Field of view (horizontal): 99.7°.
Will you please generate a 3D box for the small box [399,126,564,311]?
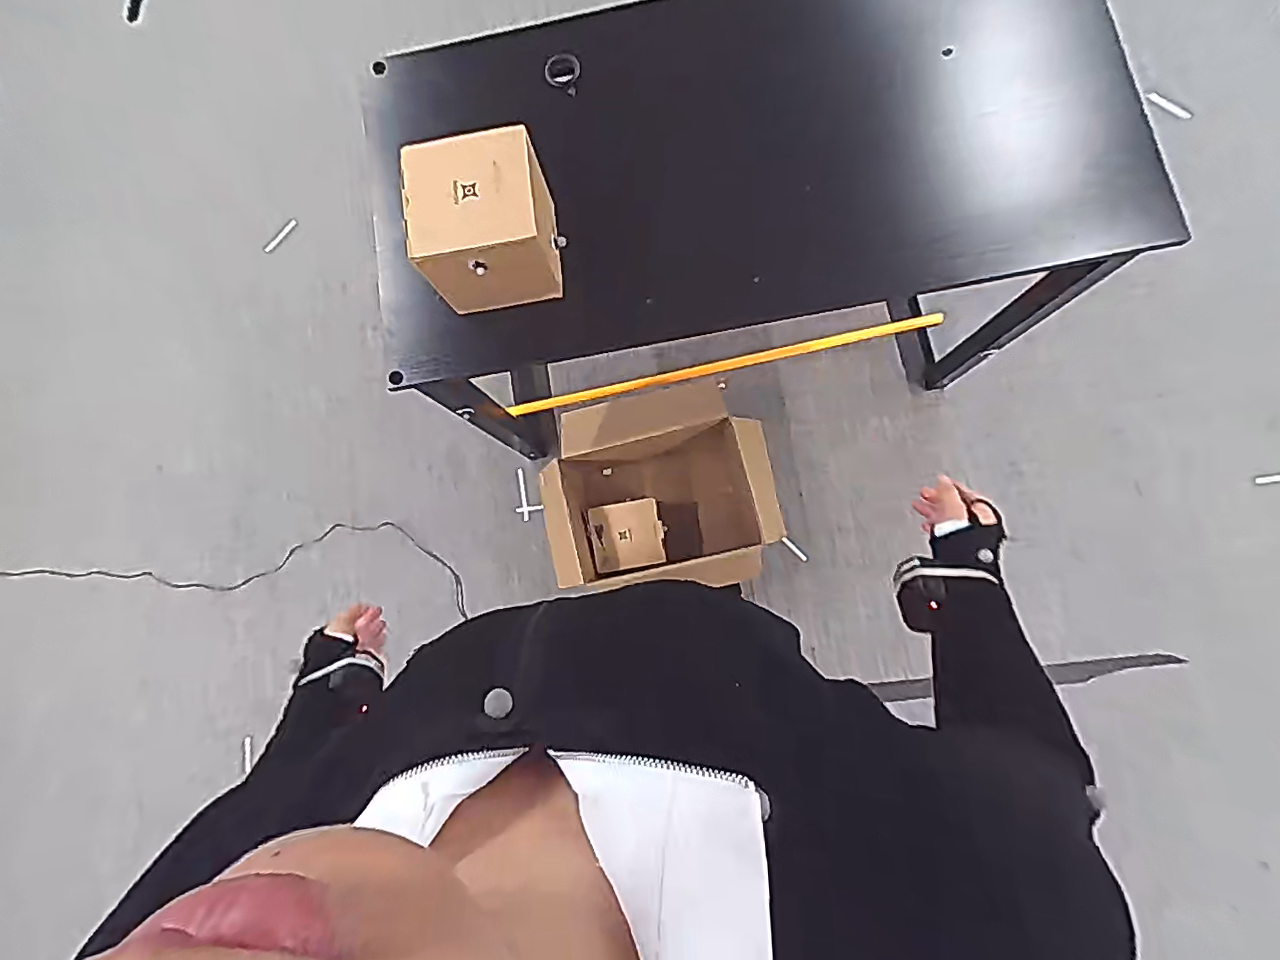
[{"bbox_3d":[-0.221,-0.364,0.785,0.179,0.176,0.168,-9,82,3],"label":"small box"}]
